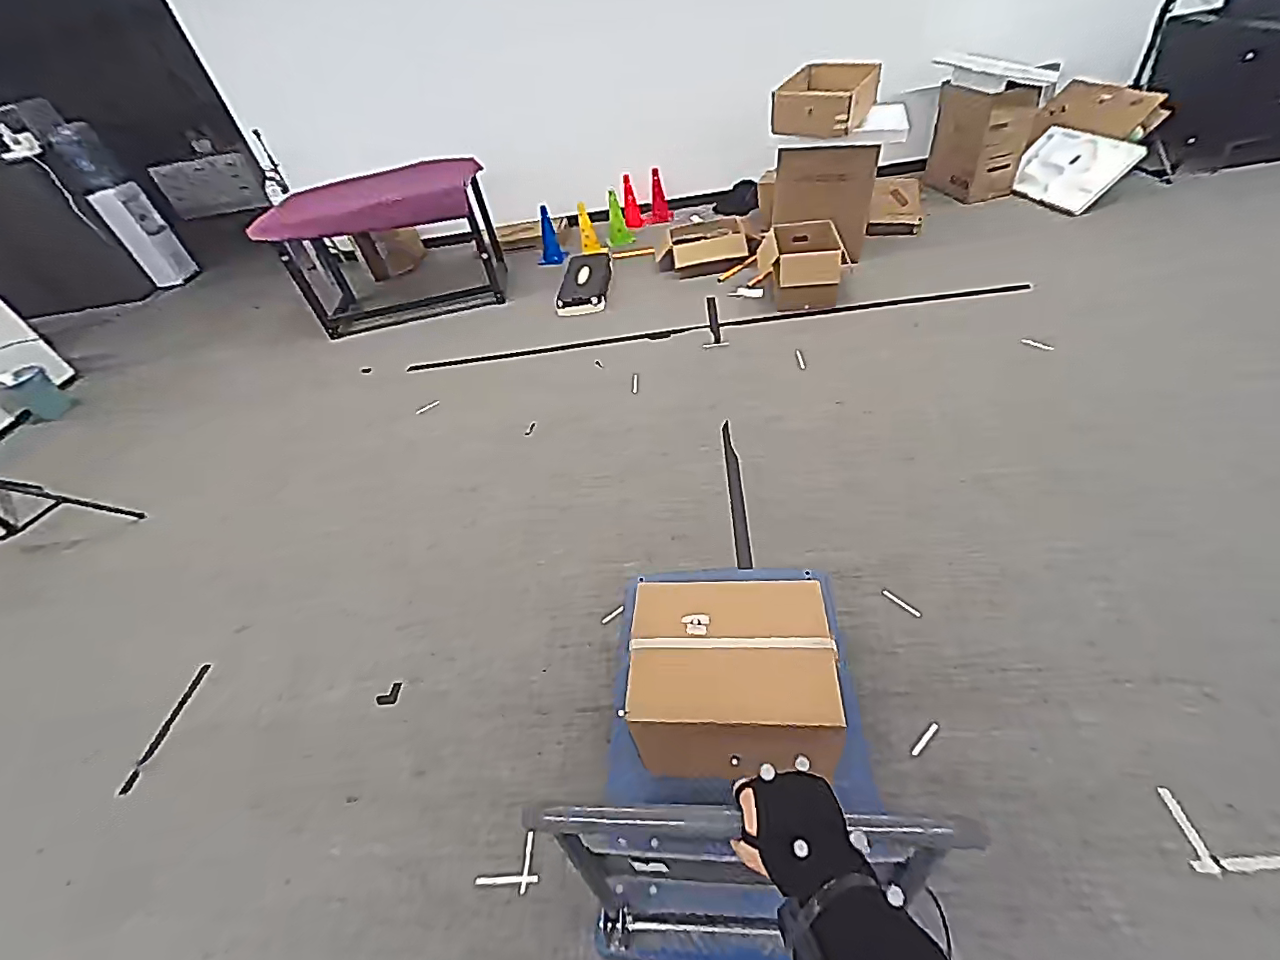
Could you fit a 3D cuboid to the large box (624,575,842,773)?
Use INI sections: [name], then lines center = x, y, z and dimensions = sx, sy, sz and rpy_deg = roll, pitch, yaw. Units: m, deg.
[large box]
center = 0.199, 0.432, 1.192
dimensions = 0.408, 0.320, 0.320
rpy_deg = -4, 43, 10
